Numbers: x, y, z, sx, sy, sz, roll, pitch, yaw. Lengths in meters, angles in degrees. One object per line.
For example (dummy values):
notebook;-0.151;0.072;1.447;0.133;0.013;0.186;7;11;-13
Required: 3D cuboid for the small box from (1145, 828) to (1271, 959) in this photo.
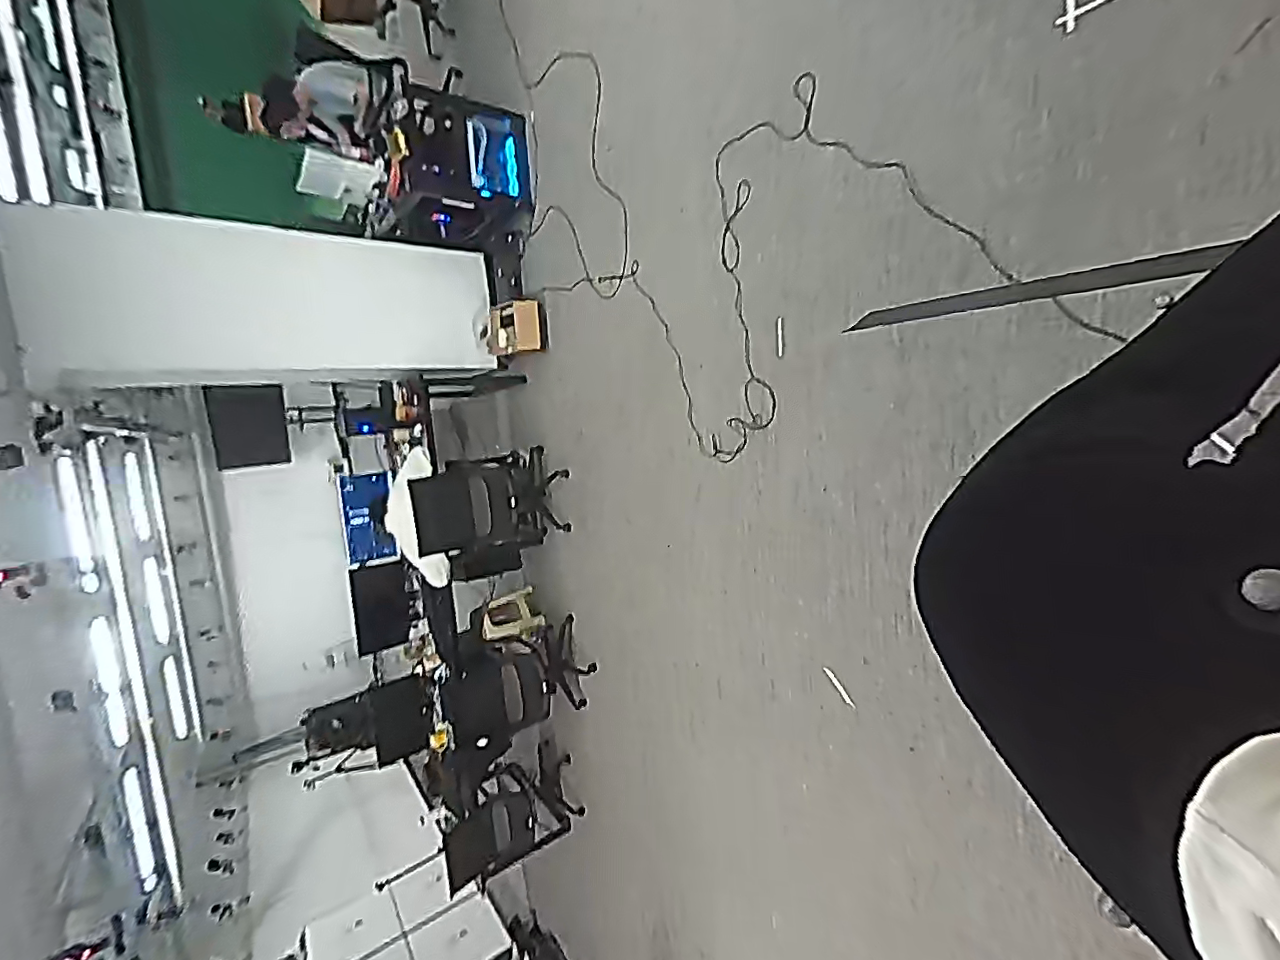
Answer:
small box;1.224;0.908;1.165;0.168;0.176;0.179;5;99;53
